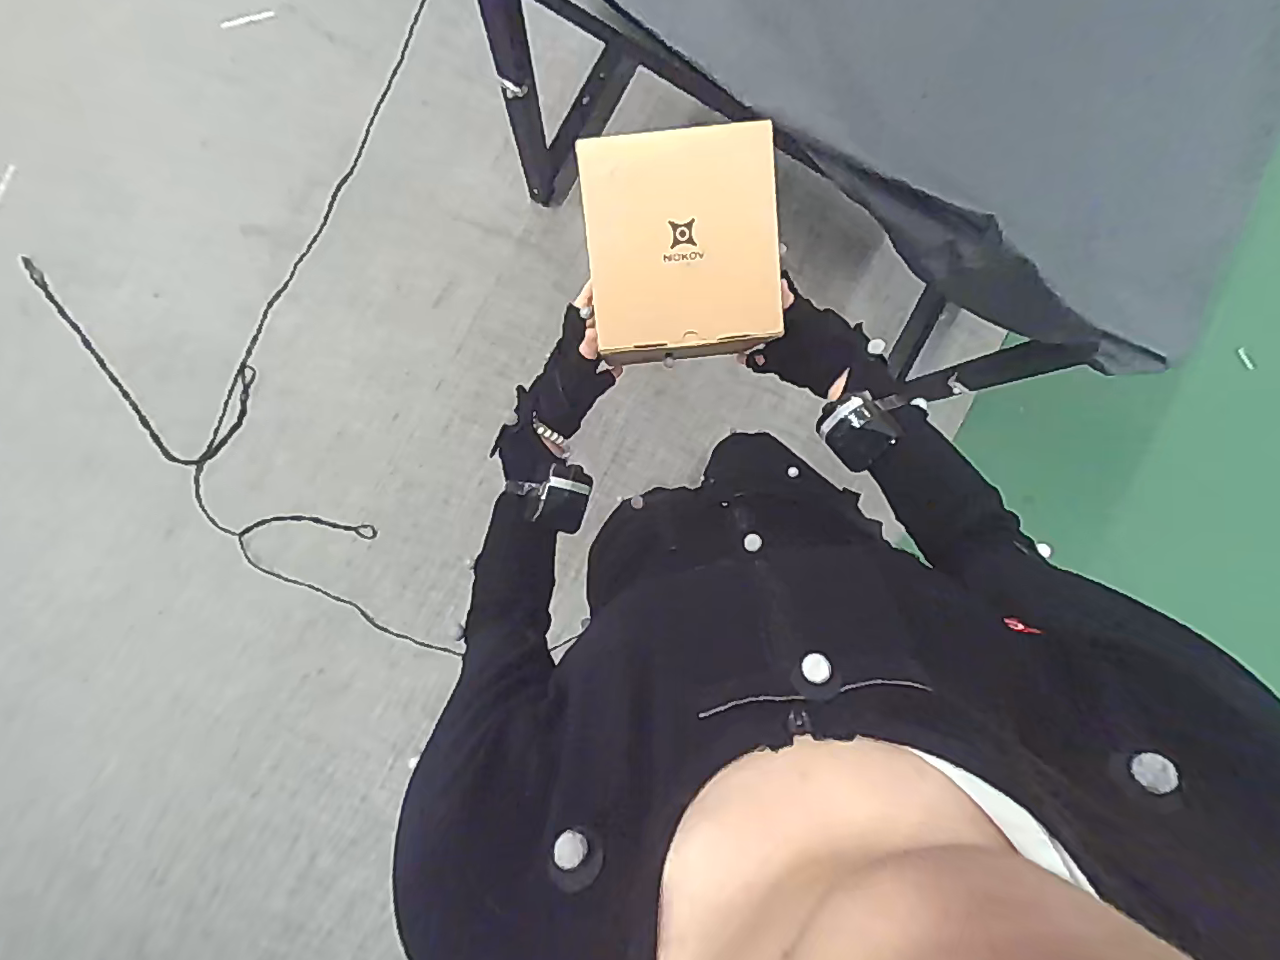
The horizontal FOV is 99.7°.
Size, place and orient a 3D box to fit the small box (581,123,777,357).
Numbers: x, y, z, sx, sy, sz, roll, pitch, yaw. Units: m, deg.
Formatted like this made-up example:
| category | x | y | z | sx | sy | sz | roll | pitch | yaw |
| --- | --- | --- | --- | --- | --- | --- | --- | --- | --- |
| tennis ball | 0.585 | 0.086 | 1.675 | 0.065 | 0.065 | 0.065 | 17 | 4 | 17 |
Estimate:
| category | x | y | z | sx | sy | sz | roll | pitch | yaw |
| --- | --- | --- | --- | --- | --- | --- | --- | --- | --- |
| small box | 0.033 | -0.224 | 0.549 | 0.168 | 0.176 | 0.179 | -6 | 100 | -1 |
